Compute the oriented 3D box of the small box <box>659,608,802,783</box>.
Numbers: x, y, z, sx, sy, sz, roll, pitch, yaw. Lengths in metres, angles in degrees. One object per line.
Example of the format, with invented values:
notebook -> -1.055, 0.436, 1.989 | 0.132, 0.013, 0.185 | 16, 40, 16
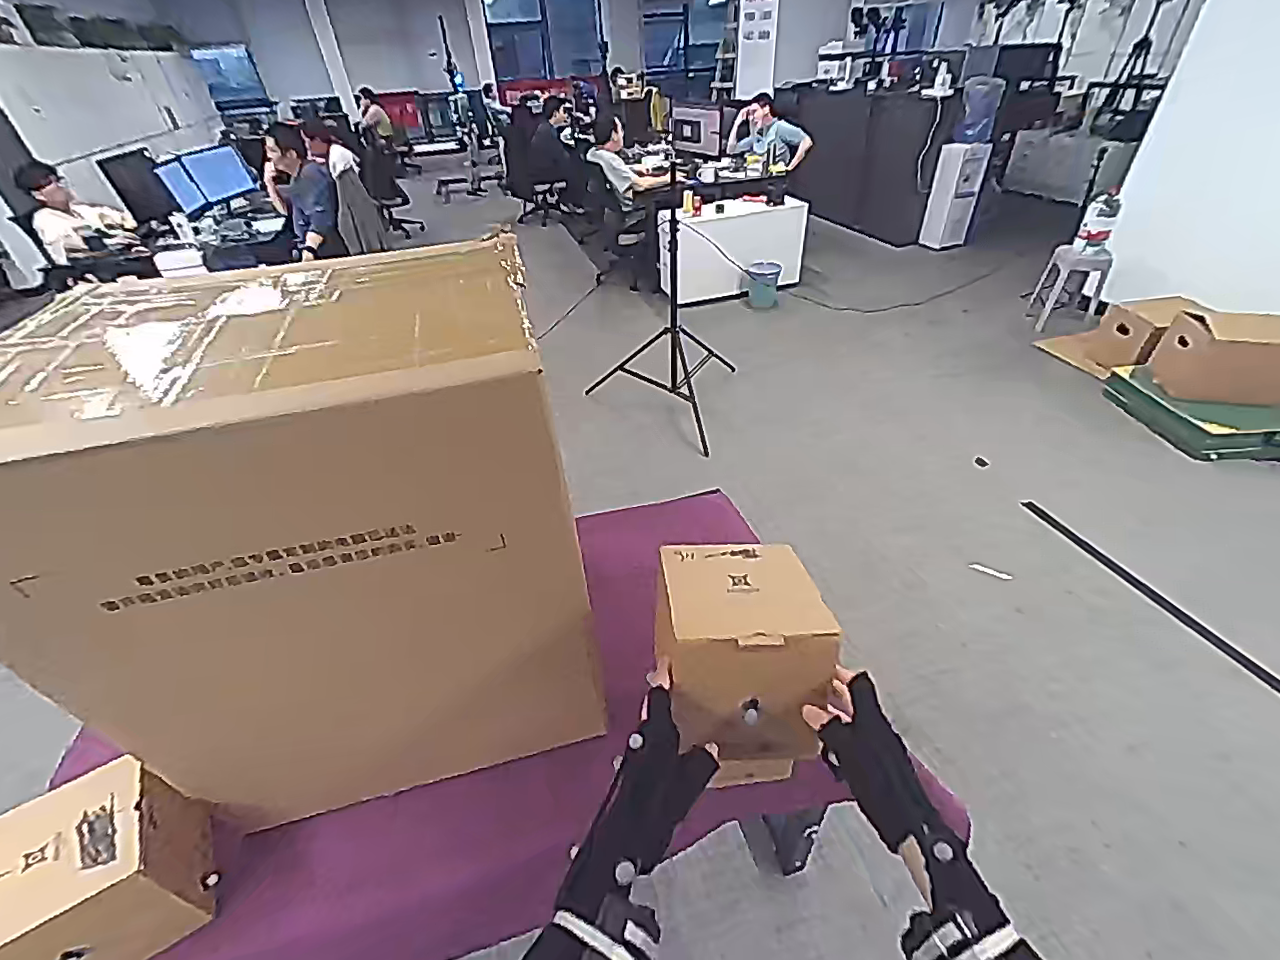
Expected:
small box -> 0.120, 0.314, 0.782 | 0.168, 0.176, 0.179 | -6, 37, -3
